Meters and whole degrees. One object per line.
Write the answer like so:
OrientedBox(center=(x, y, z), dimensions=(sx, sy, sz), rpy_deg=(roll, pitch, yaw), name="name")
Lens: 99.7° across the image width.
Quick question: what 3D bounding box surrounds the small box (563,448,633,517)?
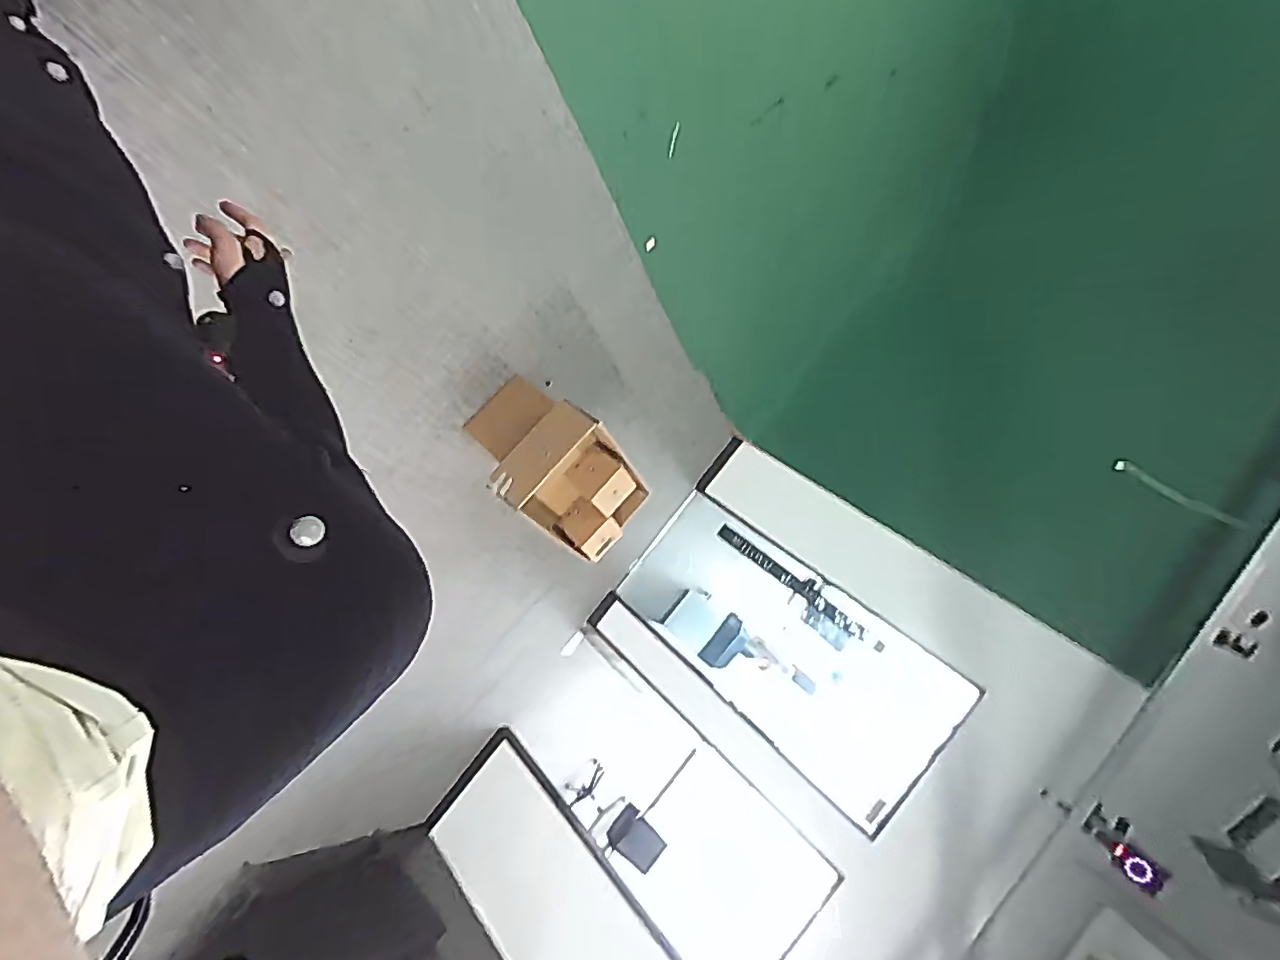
OrientedBox(center=(-0.160, 0.003, 2.025), dimensions=(0.168, 0.176, 0.179), rpy_deg=(-47, 150, -7), name="small box")
